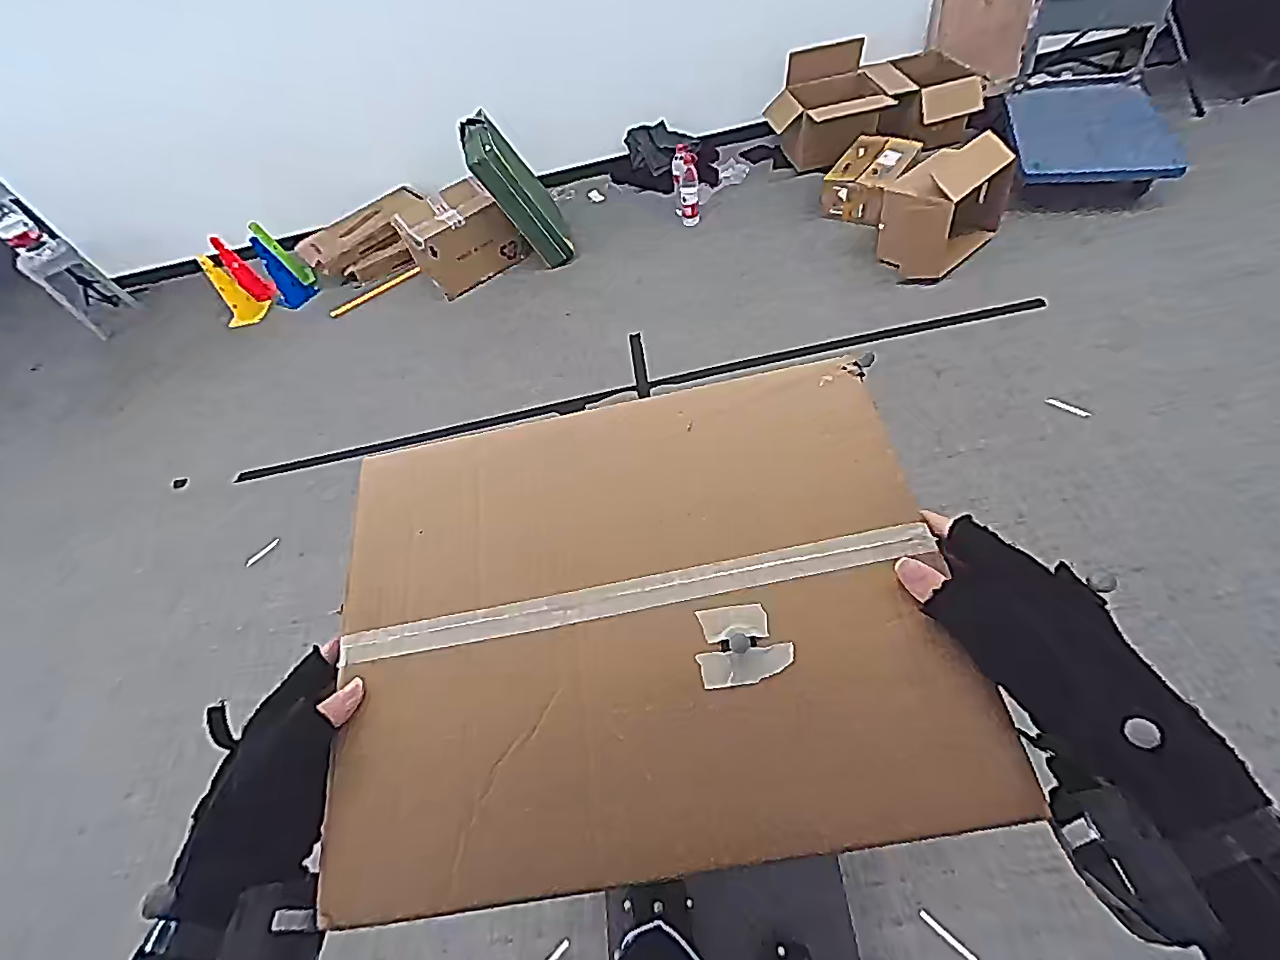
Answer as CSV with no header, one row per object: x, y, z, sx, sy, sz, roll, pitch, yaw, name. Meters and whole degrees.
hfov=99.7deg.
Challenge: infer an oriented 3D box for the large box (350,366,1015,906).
0.015,0.146,0.512,0.408,0.320,0.320,-11,63,3,large box
